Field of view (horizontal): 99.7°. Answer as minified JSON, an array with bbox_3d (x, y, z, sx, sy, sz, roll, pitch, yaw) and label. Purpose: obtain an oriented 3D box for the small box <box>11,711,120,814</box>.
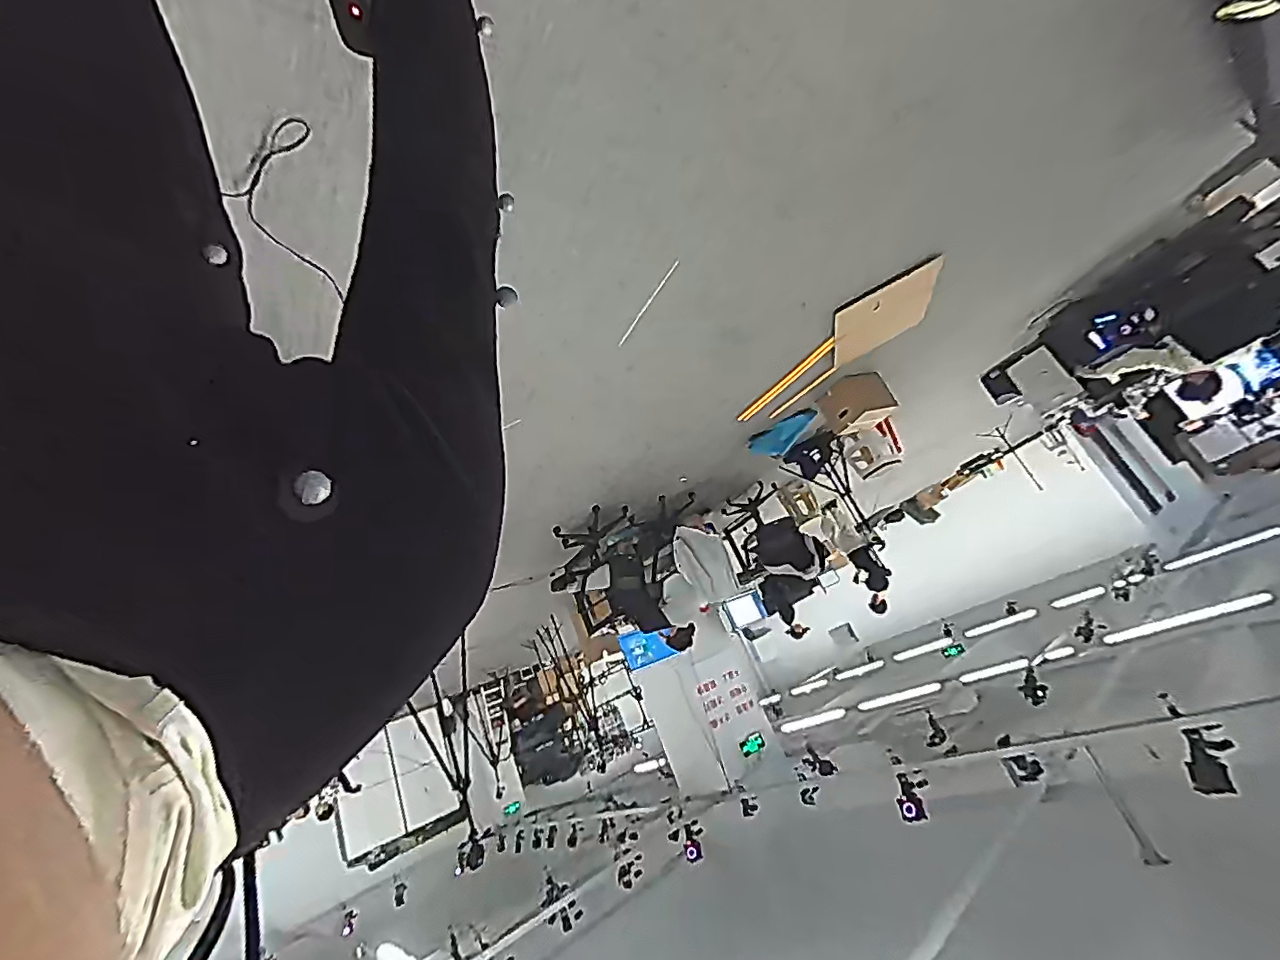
[{"bbox_3d":[-1.417,0.693,1.338,0.168,0.176,0.179,-7,154,-39],"label":"small box"}]
